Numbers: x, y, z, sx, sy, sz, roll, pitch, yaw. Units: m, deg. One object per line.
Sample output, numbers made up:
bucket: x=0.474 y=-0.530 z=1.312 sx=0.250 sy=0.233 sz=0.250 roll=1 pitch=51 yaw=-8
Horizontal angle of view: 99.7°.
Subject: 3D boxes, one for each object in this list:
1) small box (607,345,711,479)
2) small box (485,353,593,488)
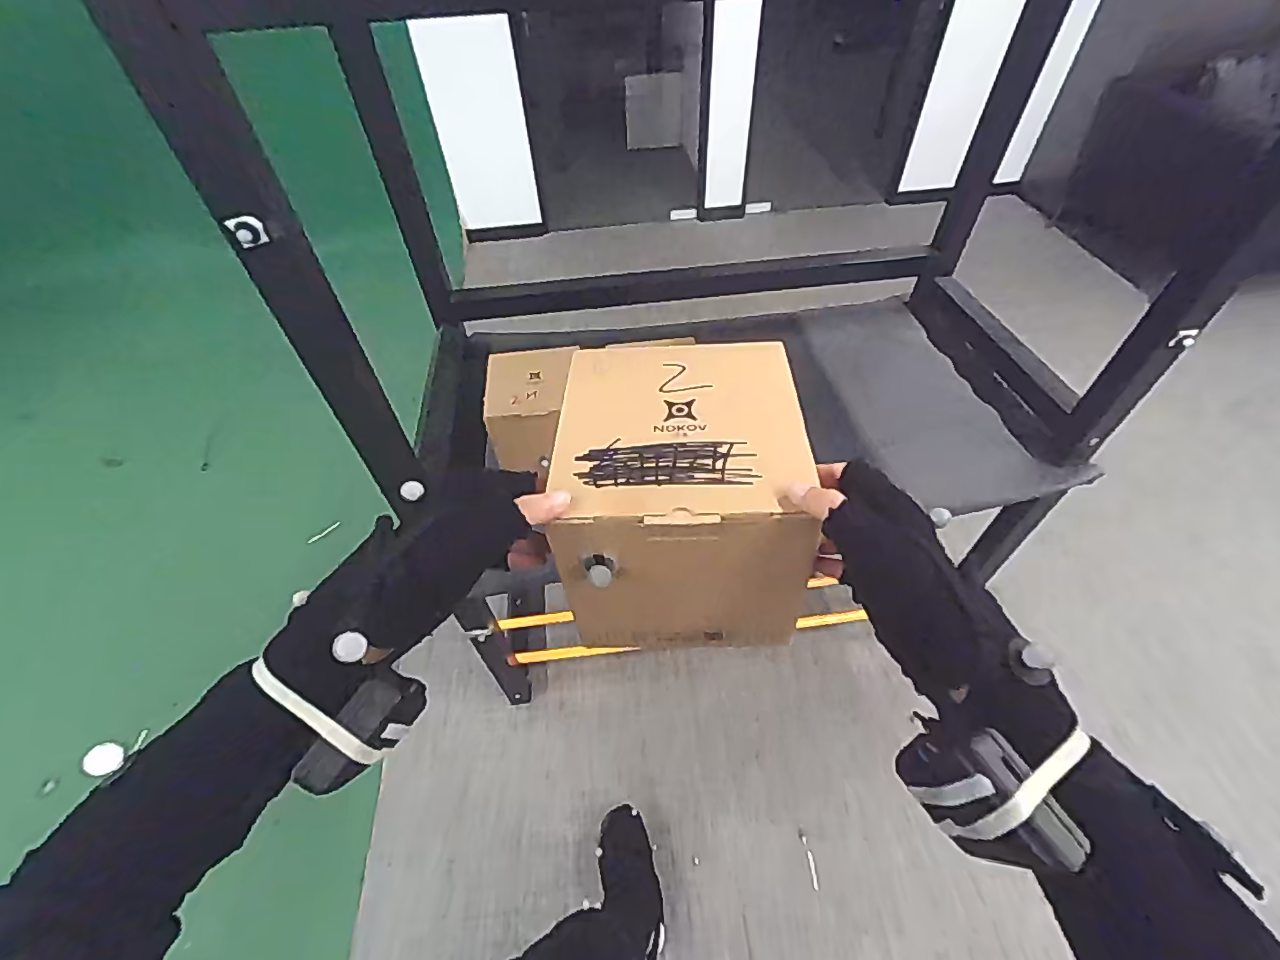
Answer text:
small box: x=0.030 y=-0.125 z=0.998 sx=0.168 sy=0.176 sz=0.179 roll=-7 pitch=49 yaw=-3
small box: x=-0.177 y=-0.109 z=0.988 sx=0.168 sy=0.176 sz=0.179 roll=-6 pitch=48 yaw=-4
